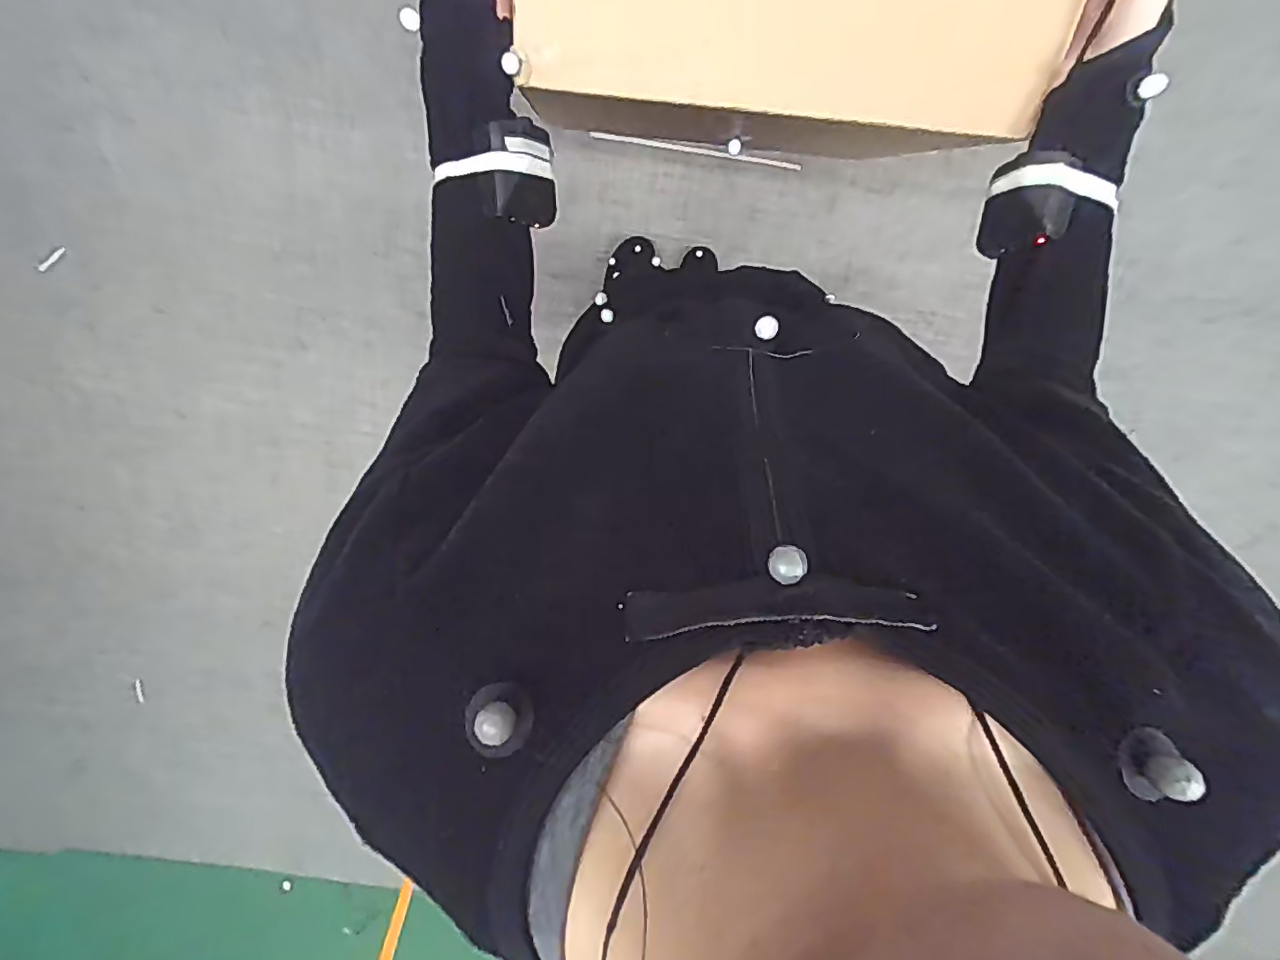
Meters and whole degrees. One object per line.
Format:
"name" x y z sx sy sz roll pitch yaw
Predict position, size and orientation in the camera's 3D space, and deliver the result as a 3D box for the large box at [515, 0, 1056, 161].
"large box" 0.108 -0.482 0.486 0.408 0.320 0.320 2 117 -5
